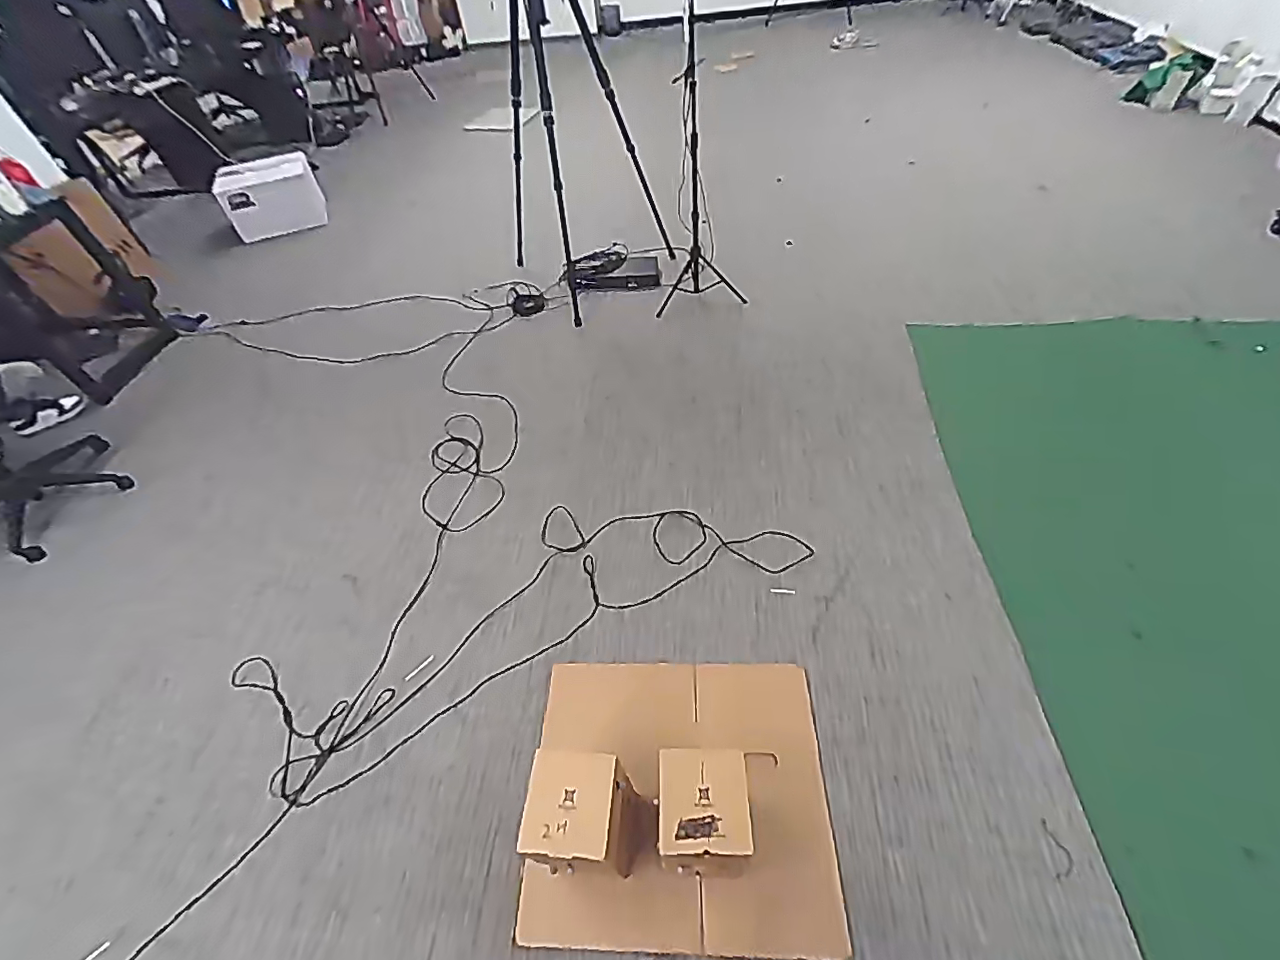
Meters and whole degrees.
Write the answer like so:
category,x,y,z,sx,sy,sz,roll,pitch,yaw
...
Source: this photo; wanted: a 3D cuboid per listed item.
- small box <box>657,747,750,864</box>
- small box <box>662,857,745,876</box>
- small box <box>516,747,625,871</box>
category,x,y,z,sx,sy,sz,roll,pitch,yaw
small box,0.121,0.638,1.057,0.168,0.176,0.179,-3,49,4
small box,0.134,0.747,1.179,0.168,0.176,0.179,-2,50,4
small box,-0.126,0.652,1.071,0.168,0.176,0.179,0,50,8
